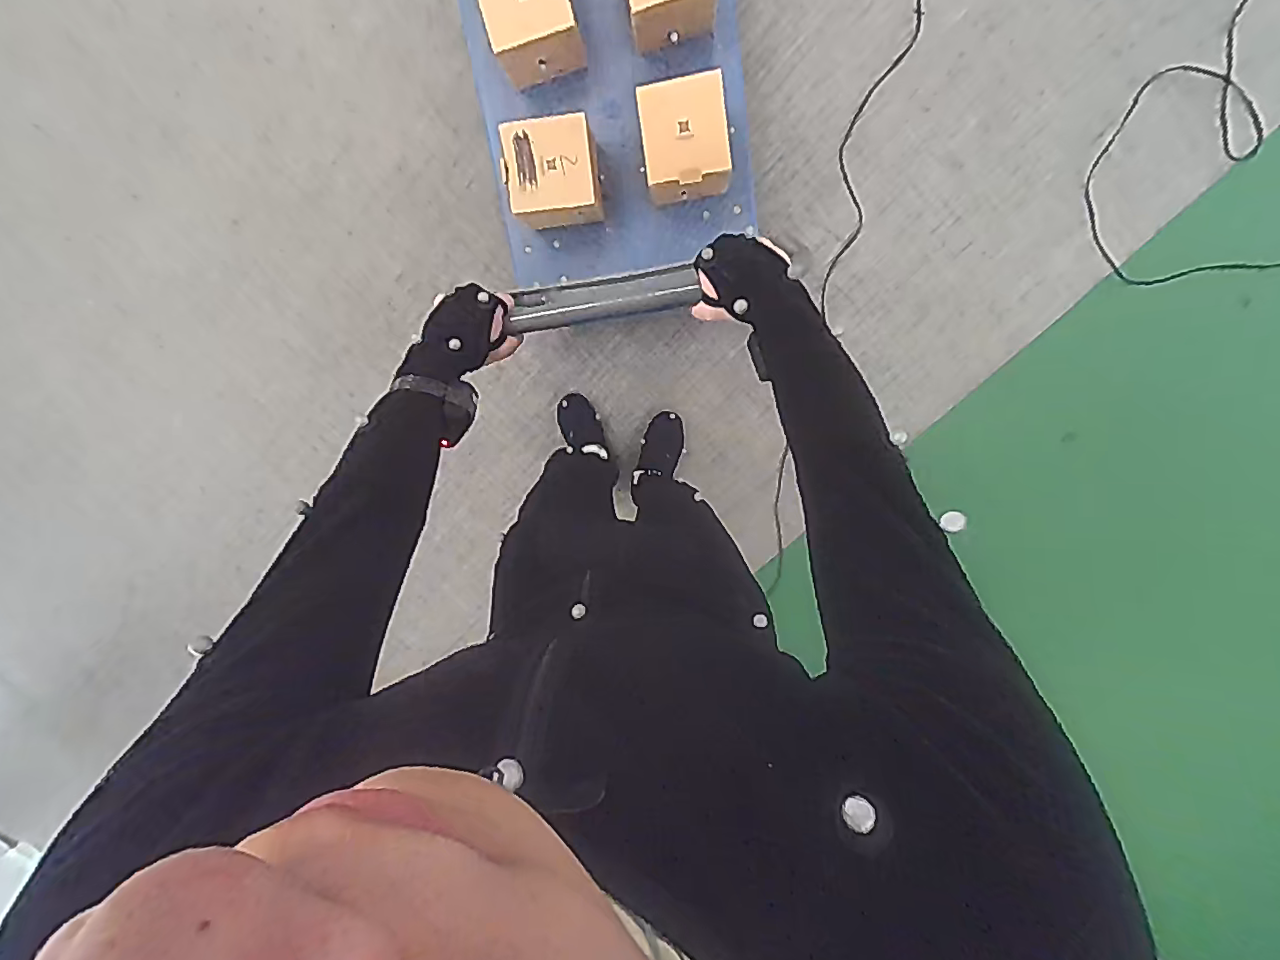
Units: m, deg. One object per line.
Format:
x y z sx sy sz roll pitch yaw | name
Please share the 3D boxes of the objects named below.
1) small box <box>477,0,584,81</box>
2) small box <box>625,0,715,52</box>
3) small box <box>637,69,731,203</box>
-0.219 -0.929 1.067 0.168 0.176 0.179 -13 105 6 | small box
0.046 -0.979 1.036 0.168 0.176 0.179 -13 105 8 | small box
0.088 -0.695 1.114 0.168 0.176 0.179 -8 105 6 | small box
